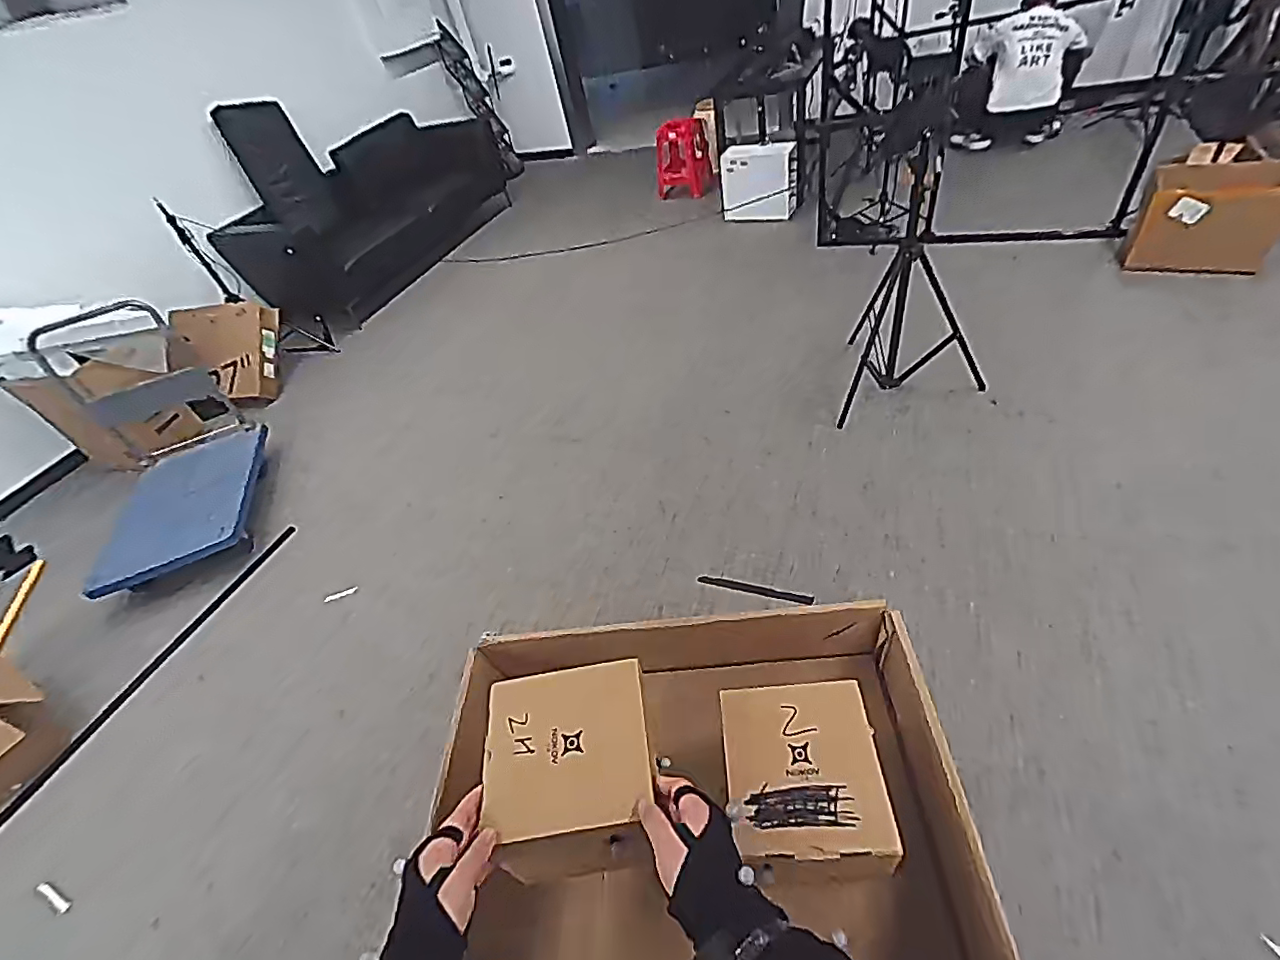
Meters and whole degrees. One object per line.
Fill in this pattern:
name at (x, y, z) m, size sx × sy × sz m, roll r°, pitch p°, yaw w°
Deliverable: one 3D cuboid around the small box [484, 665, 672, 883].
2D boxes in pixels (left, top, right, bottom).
small box at (-0.061, 0.340, 0.625) m, size 0.179 × 0.176 × 0.168 m, roll -11°, pitch 42°, yaw 2°
